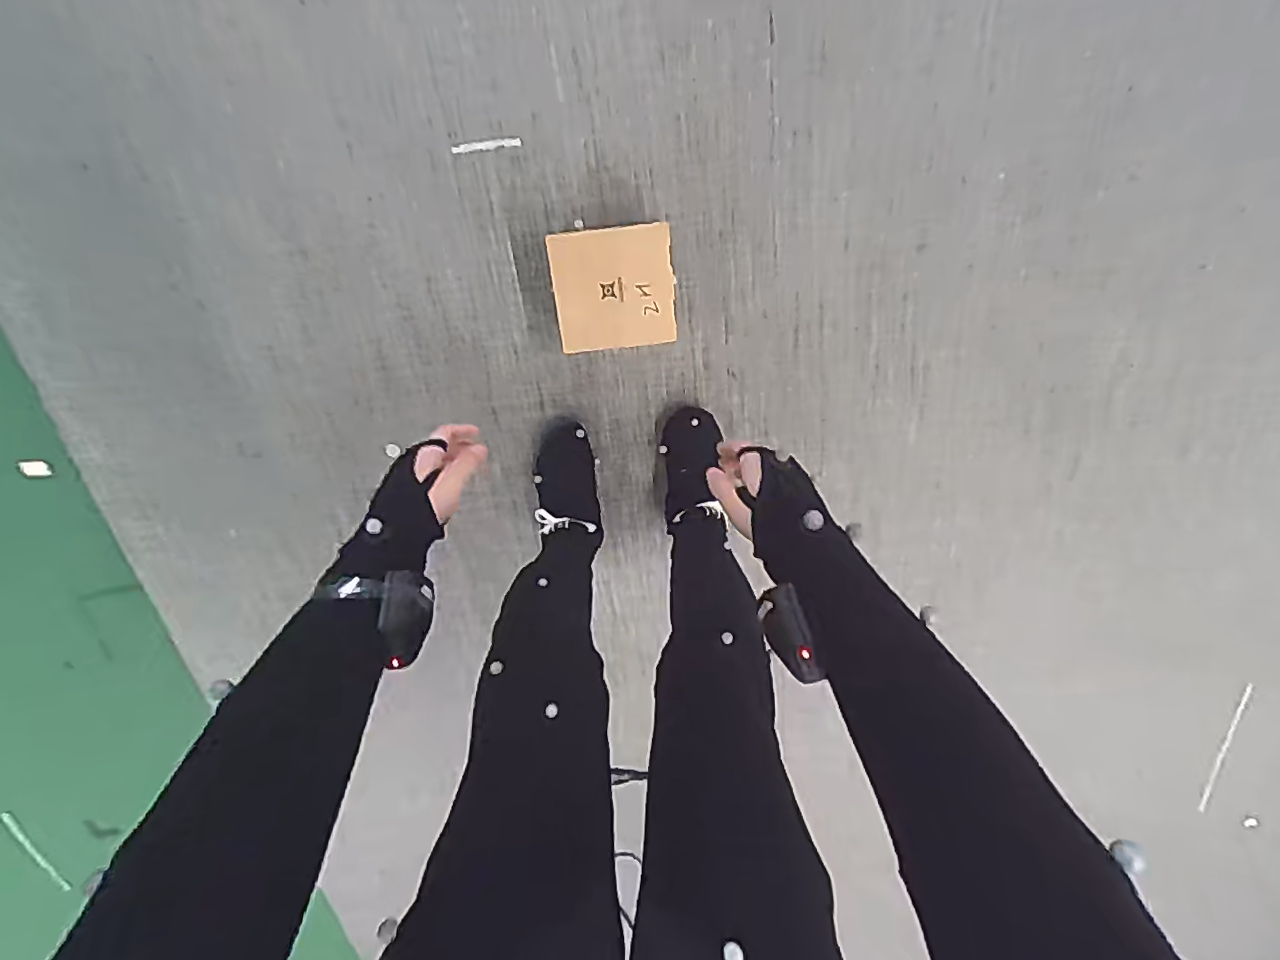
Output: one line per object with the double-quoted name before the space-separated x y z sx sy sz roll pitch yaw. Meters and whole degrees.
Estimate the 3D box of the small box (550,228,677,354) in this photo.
"small box" -0.038 -0.304 0.868 0.179 0.176 0.168 -6 113 0
